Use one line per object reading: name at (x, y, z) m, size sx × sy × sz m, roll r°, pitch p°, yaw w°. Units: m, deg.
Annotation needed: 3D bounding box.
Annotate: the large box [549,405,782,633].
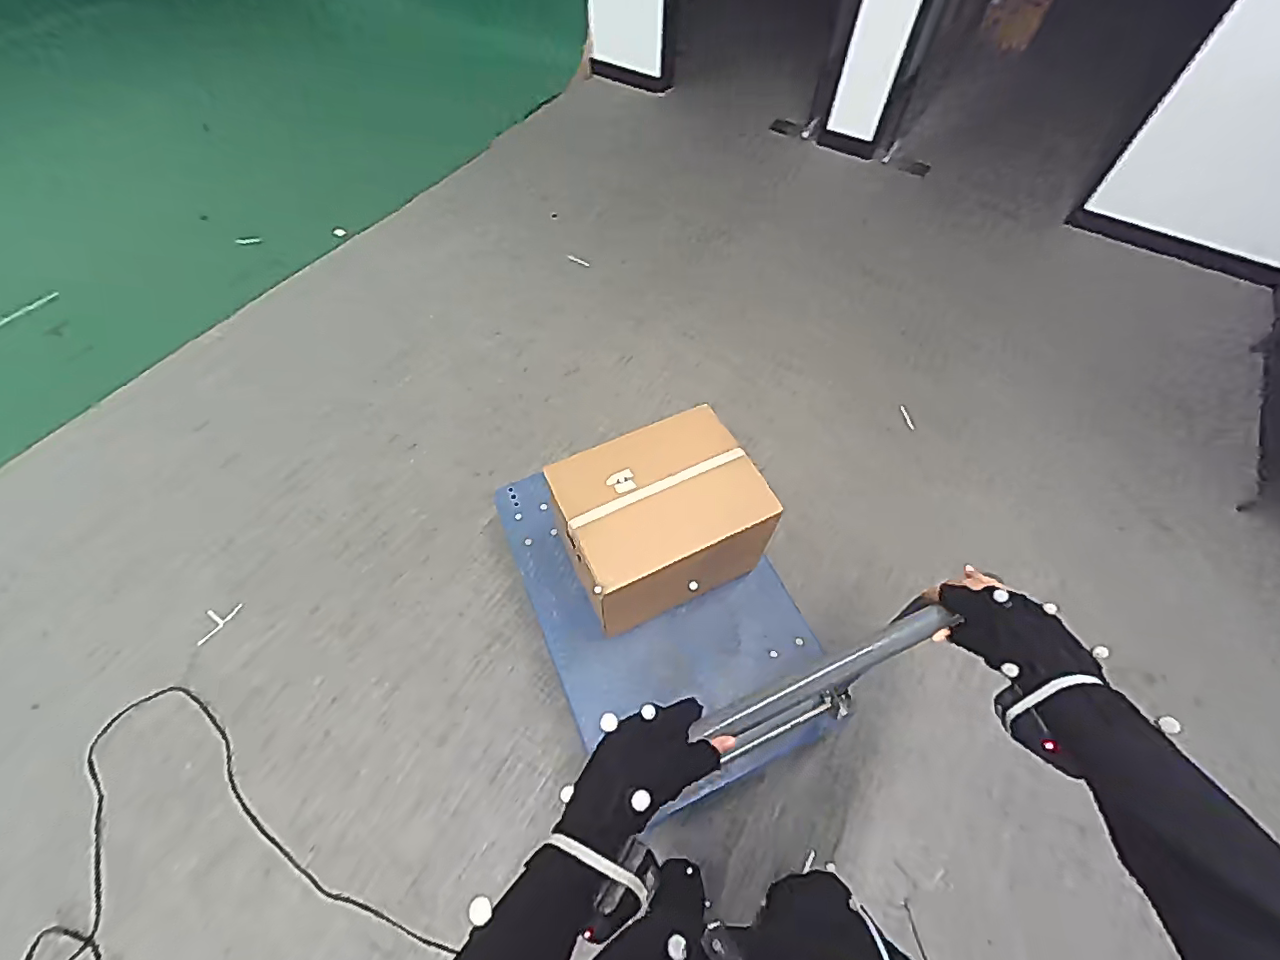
large box at (0.050, 0.096, 1.248) m, size 0.408 × 0.320 × 0.320 m, roll -23°, pitch 61°, yaw -14°
